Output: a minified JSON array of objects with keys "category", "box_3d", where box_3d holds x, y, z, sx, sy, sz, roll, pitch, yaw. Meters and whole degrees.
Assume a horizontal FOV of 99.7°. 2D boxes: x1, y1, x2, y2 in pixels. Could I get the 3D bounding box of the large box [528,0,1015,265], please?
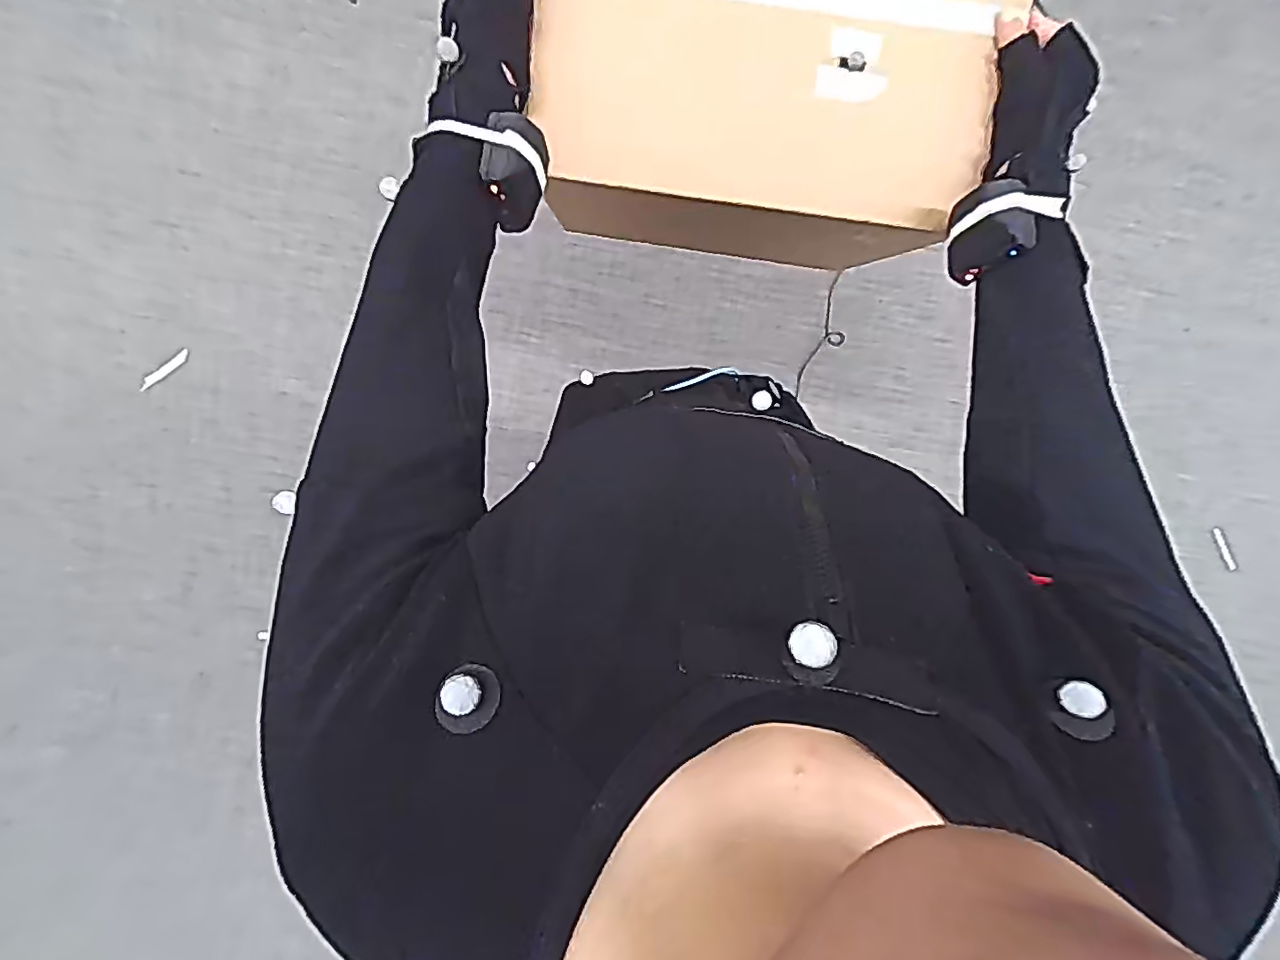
[{"category":"large box","box_3d":[0.108,-0.437,0.592,0.408,0.320,0.320,7,106,-3]}]
